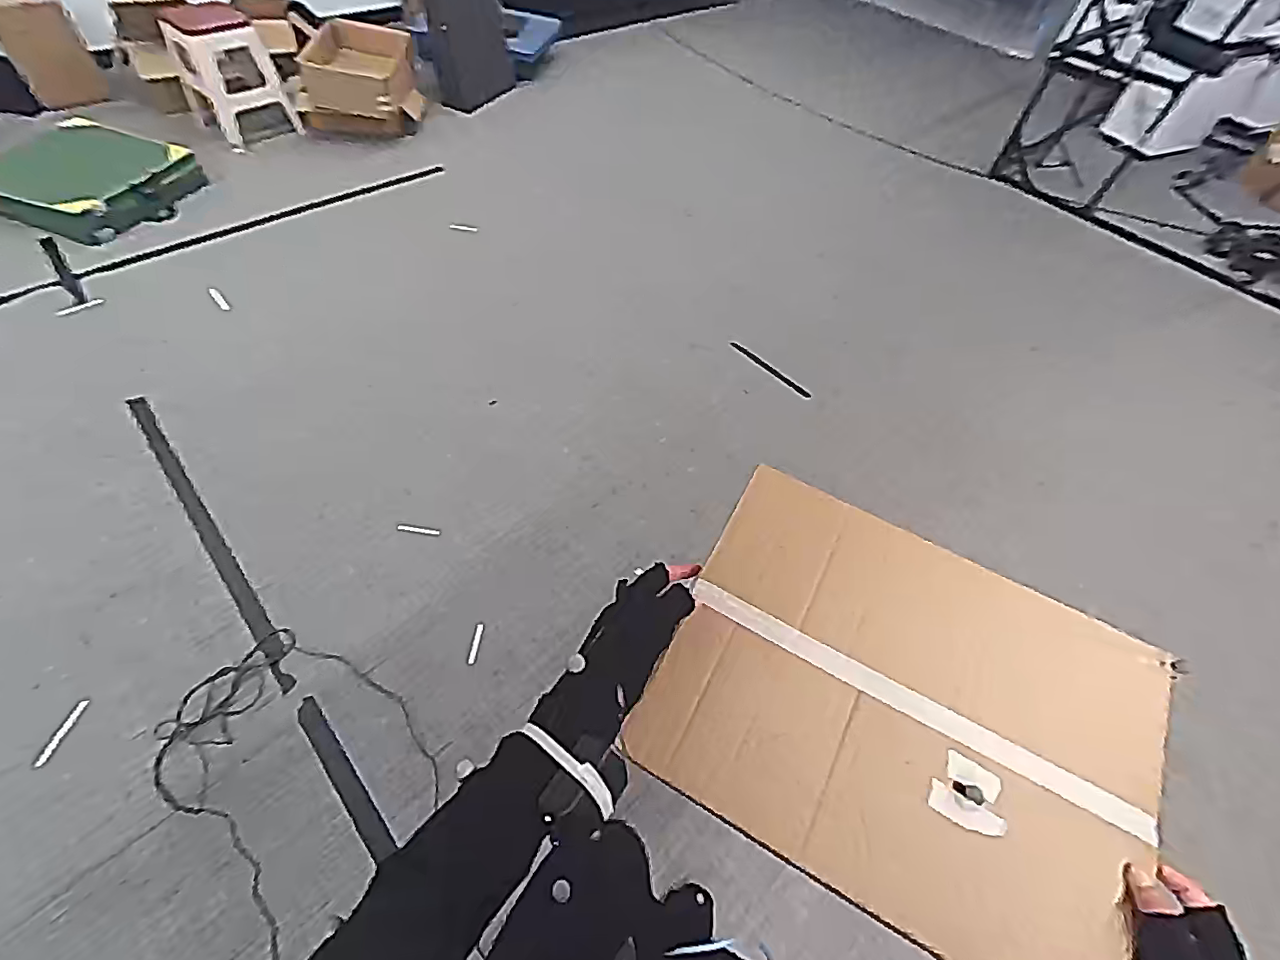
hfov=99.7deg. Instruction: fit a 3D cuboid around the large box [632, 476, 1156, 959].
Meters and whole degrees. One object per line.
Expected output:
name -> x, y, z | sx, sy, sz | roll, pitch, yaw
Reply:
large box -> 0.233, 0.261, 0.616 | 0.408, 0.320, 0.320 | 27, 67, 13
